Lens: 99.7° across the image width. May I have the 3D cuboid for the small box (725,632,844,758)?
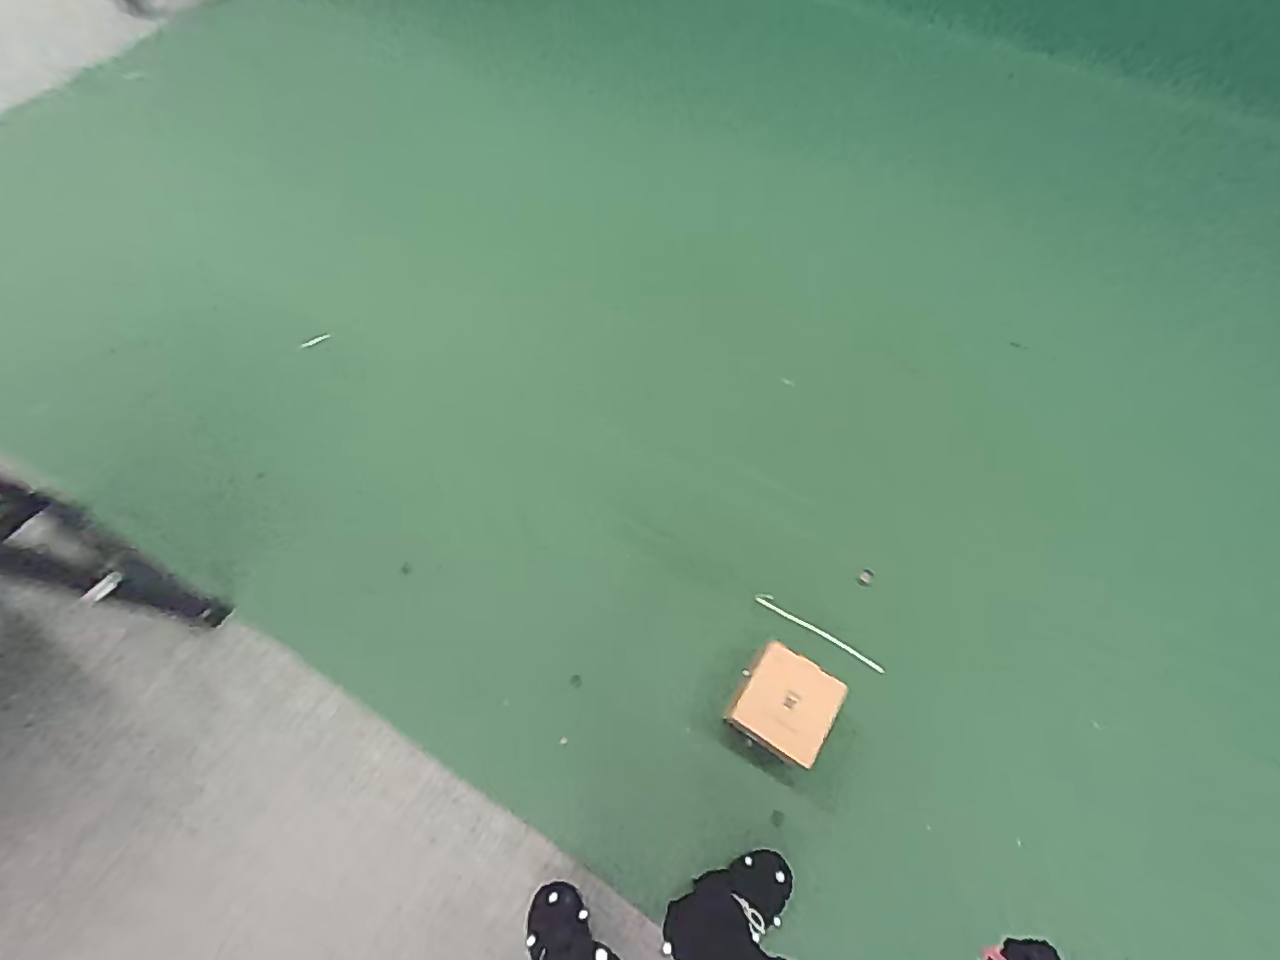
[{"bbox_3d":[0.290,0.446,1.129,0.168,0.176,0.179,31,71,14],"label":"small box"}]
